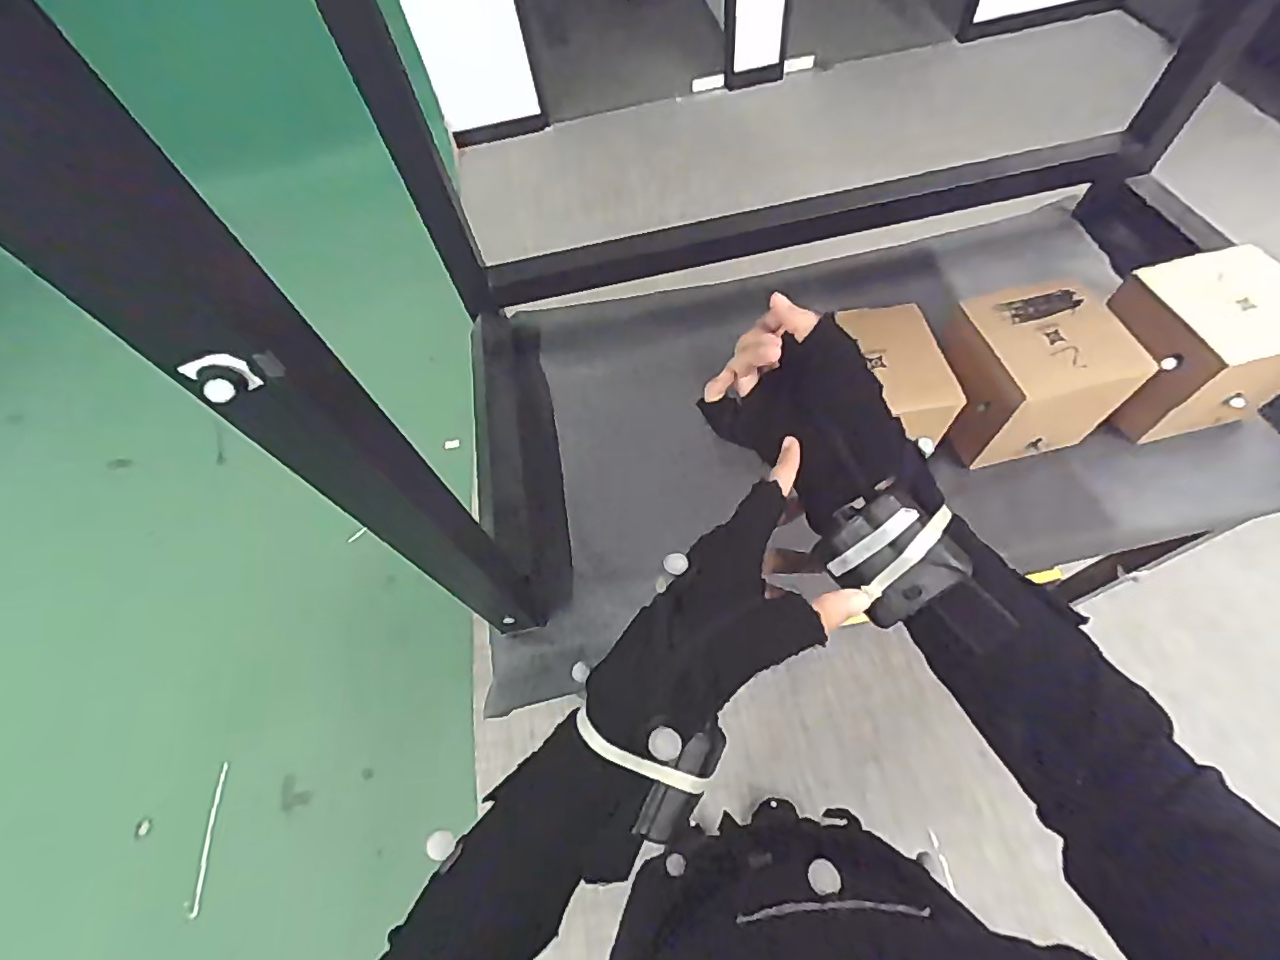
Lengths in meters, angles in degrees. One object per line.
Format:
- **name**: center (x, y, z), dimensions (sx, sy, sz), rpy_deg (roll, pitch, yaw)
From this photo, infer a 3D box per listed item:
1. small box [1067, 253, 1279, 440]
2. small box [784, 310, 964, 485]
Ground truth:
- **small box**: center (0.754, -0.172, 0.743), dimensions (0.168, 0.176, 0.179), rpy_deg (-13, 59, -1)
- **small box**: center (0.311, -0.105, 0.763), dimensions (0.168, 0.176, 0.179), rpy_deg (-9, 59, 2)
